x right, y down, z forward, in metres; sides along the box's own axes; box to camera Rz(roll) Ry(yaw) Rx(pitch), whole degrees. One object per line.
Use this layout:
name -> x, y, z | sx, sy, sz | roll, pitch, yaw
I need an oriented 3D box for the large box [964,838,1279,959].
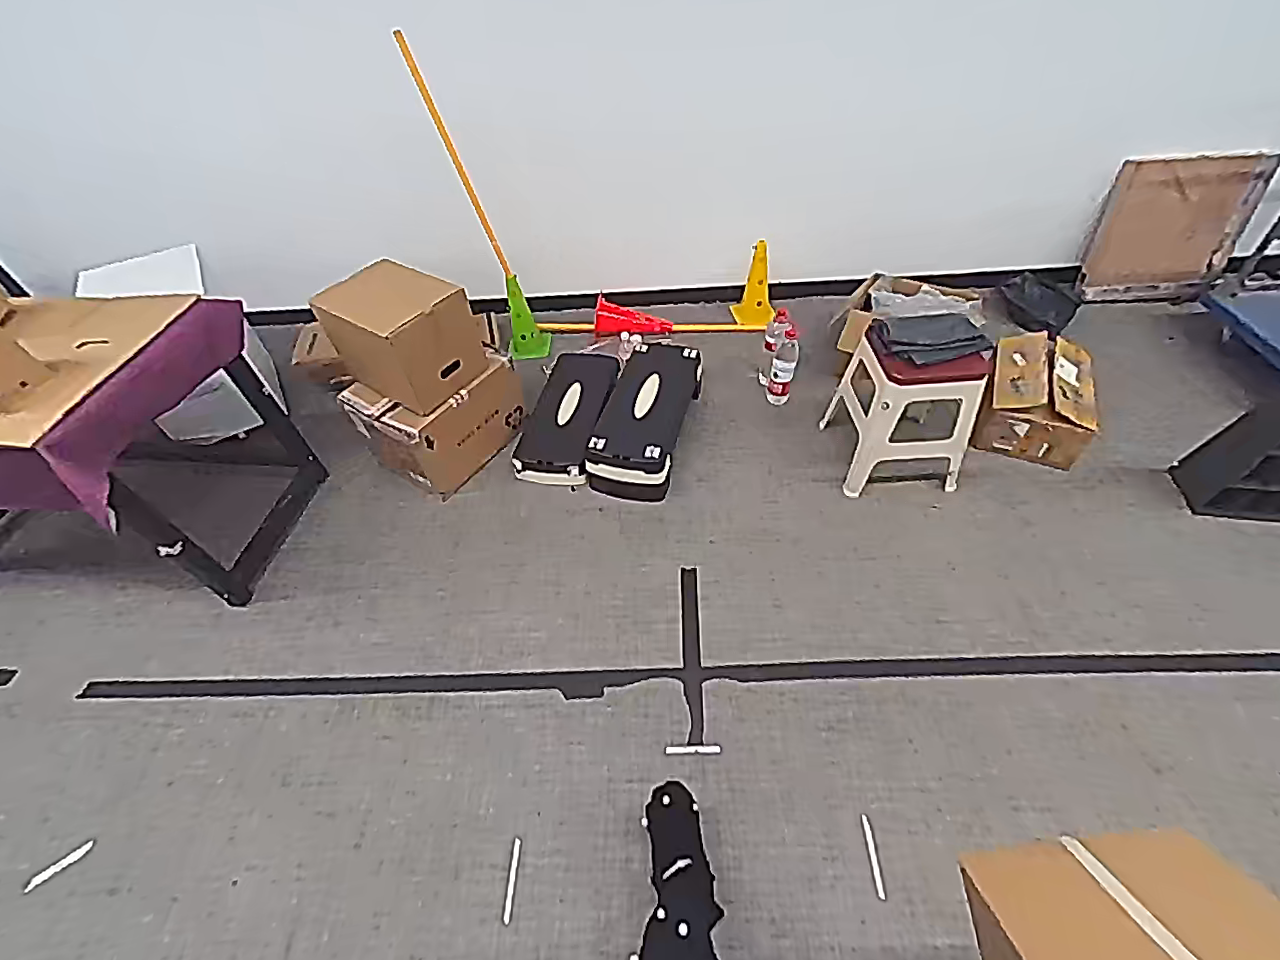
large box -> 0.634, 0.687, 0.594 | 0.320, 0.408, 0.320 | -13, 89, 8
